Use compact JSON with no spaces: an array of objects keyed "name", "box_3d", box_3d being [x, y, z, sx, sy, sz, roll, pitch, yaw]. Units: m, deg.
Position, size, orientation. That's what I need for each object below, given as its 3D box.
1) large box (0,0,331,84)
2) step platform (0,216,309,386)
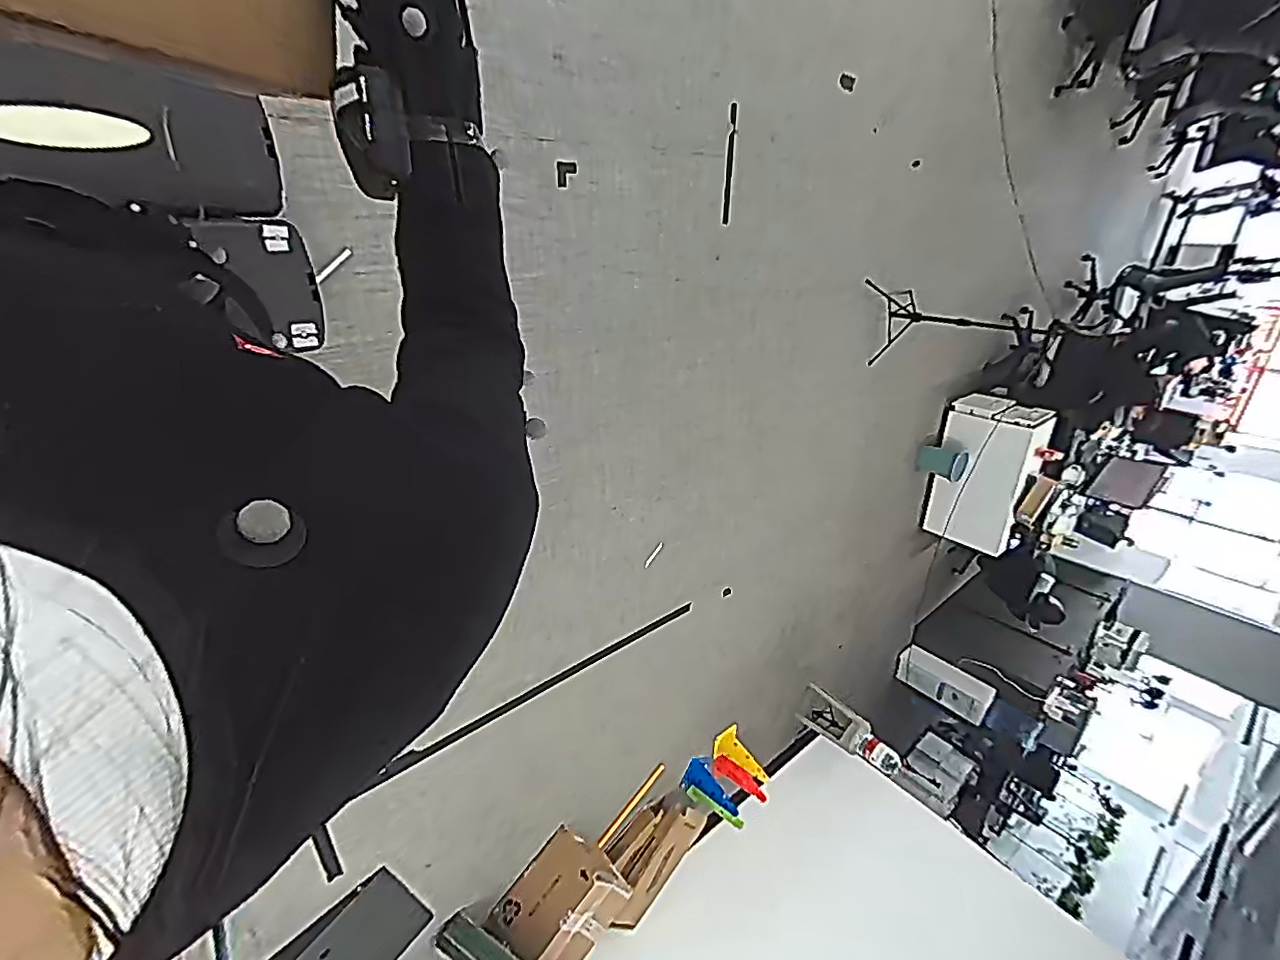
[{"name":"large box","box_3d":[-0.417,-0.426,0.253,0.408,0.320,0.320,-12,126,-40]},{"name":"step platform","box_3d":[-1.064,-0.368,1.078,0.684,0.204,0.286,-18,120,-32]}]
